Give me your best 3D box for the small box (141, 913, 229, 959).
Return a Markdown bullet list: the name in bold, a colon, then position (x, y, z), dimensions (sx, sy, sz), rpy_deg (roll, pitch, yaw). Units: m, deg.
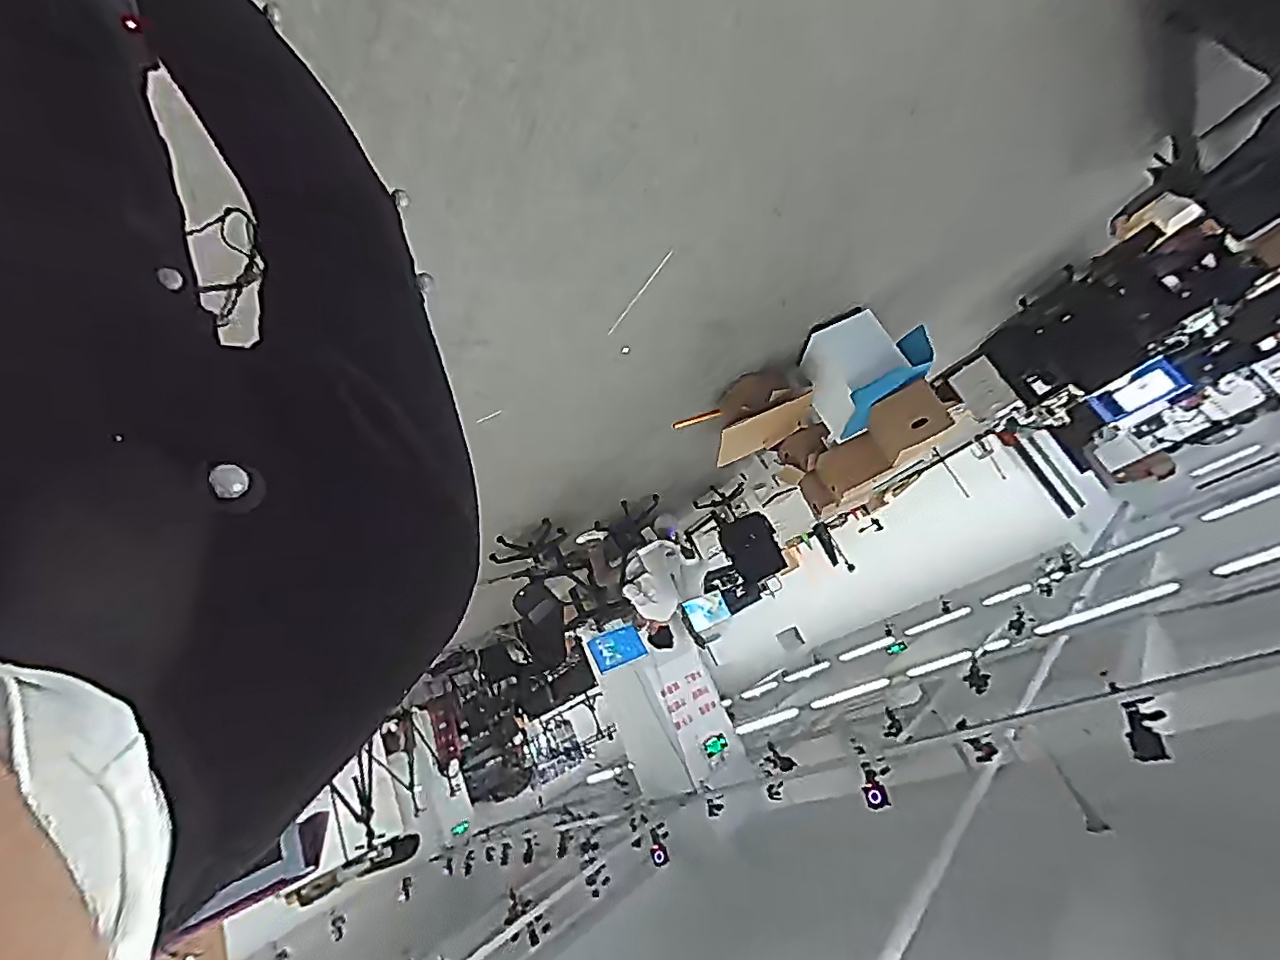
- **small box**: position (-1.191, 1.278, 1.419), dimensions (0.168, 0.176, 0.179), rpy_deg (-7, 155, -44)
